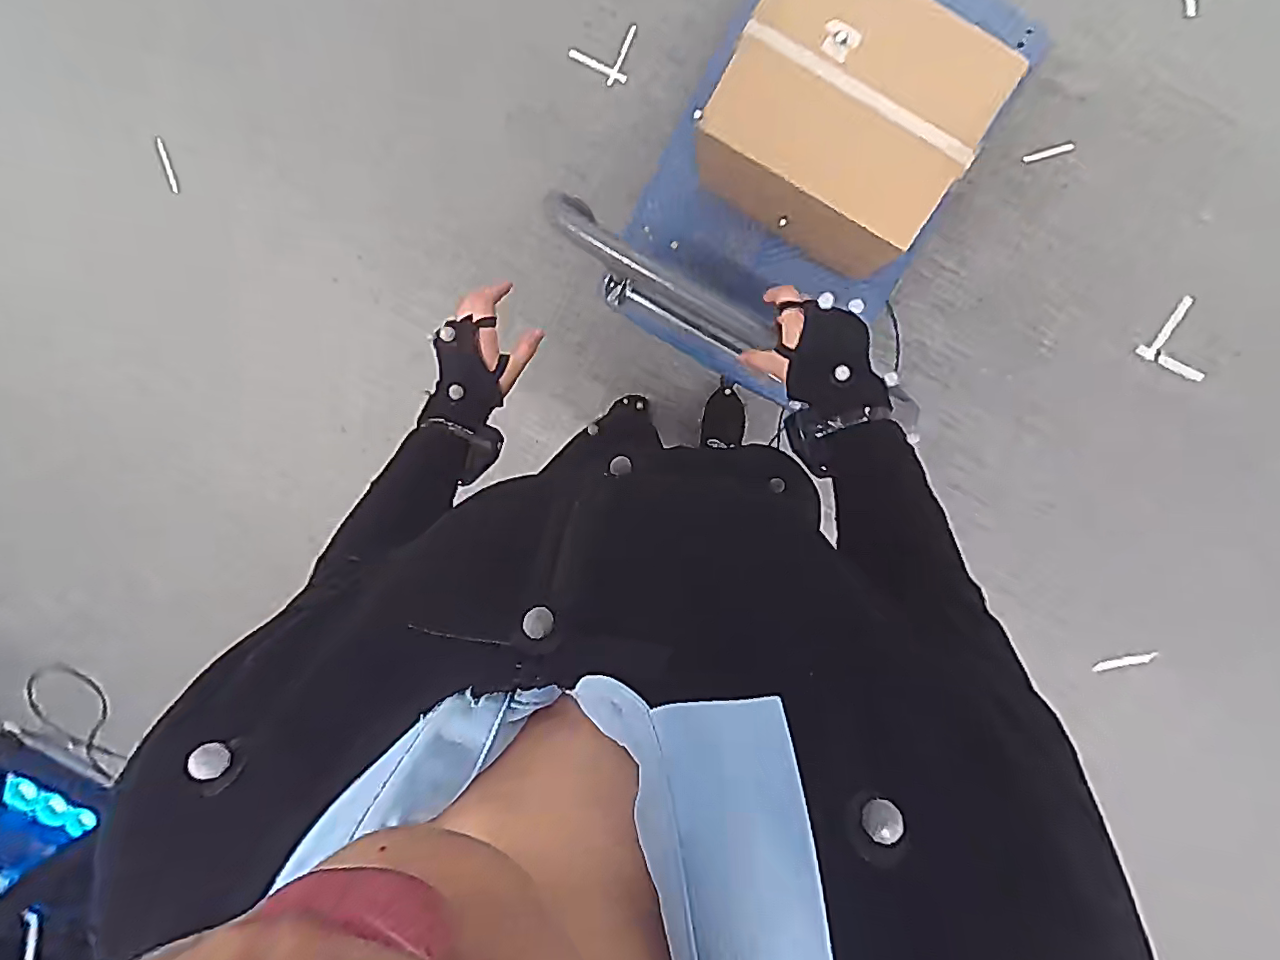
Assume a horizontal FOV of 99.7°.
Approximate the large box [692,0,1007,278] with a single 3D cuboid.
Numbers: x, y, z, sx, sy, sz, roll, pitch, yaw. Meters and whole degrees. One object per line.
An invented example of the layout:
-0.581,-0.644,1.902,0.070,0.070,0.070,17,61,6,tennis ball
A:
0.351,-0.637,1.022,0.408,0.320,0.320,31,102,0,large box
